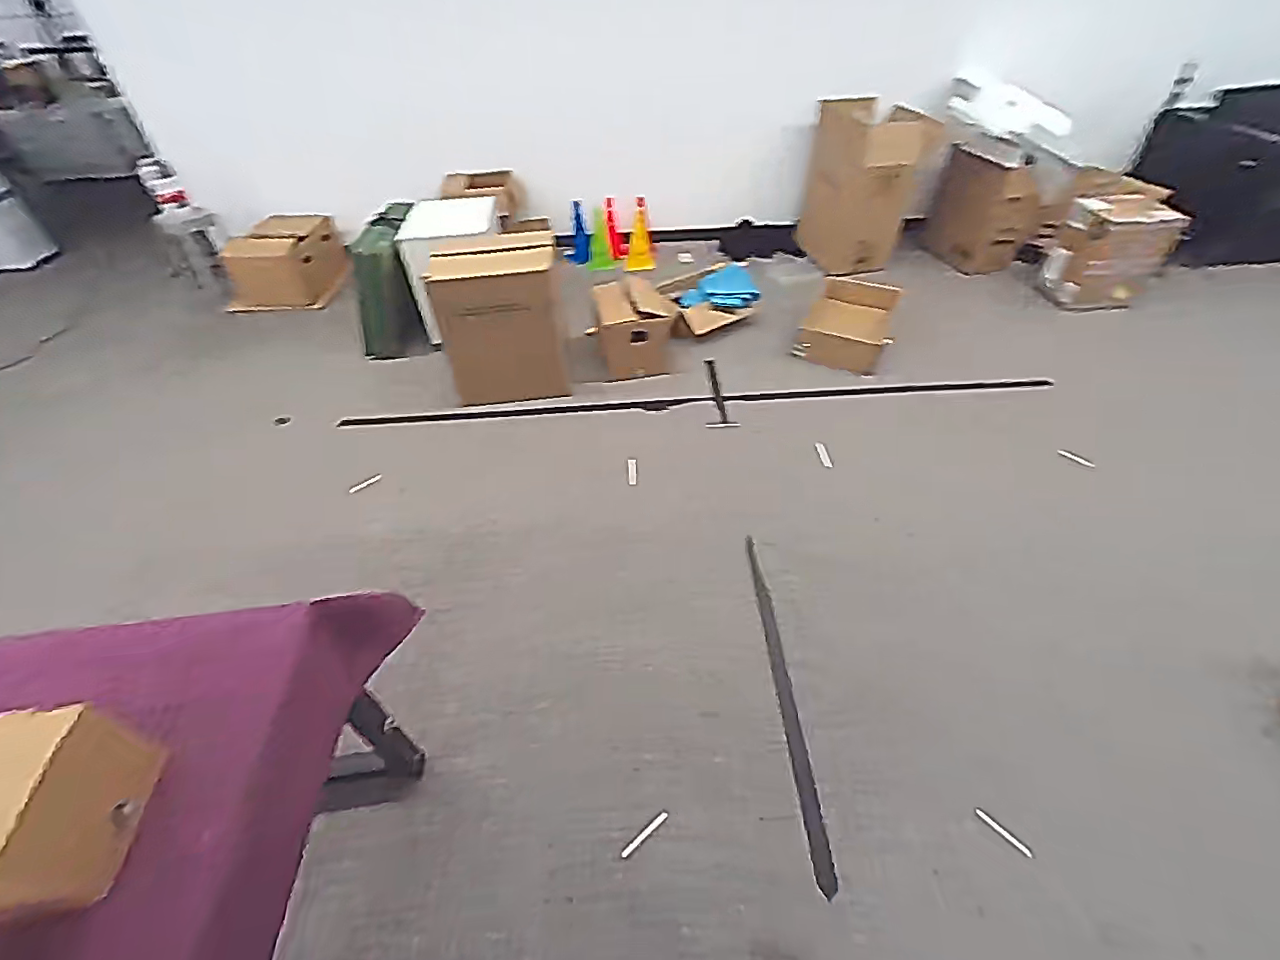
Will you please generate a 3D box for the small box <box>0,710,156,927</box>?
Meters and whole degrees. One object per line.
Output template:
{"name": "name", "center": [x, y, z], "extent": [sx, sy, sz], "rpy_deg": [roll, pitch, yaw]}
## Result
{"name": "small box", "center": [-0.740, 0.405, 0.643], "extent": [0.168, 0.176, 0.179], "rpy_deg": [-8, 44, -5]}
